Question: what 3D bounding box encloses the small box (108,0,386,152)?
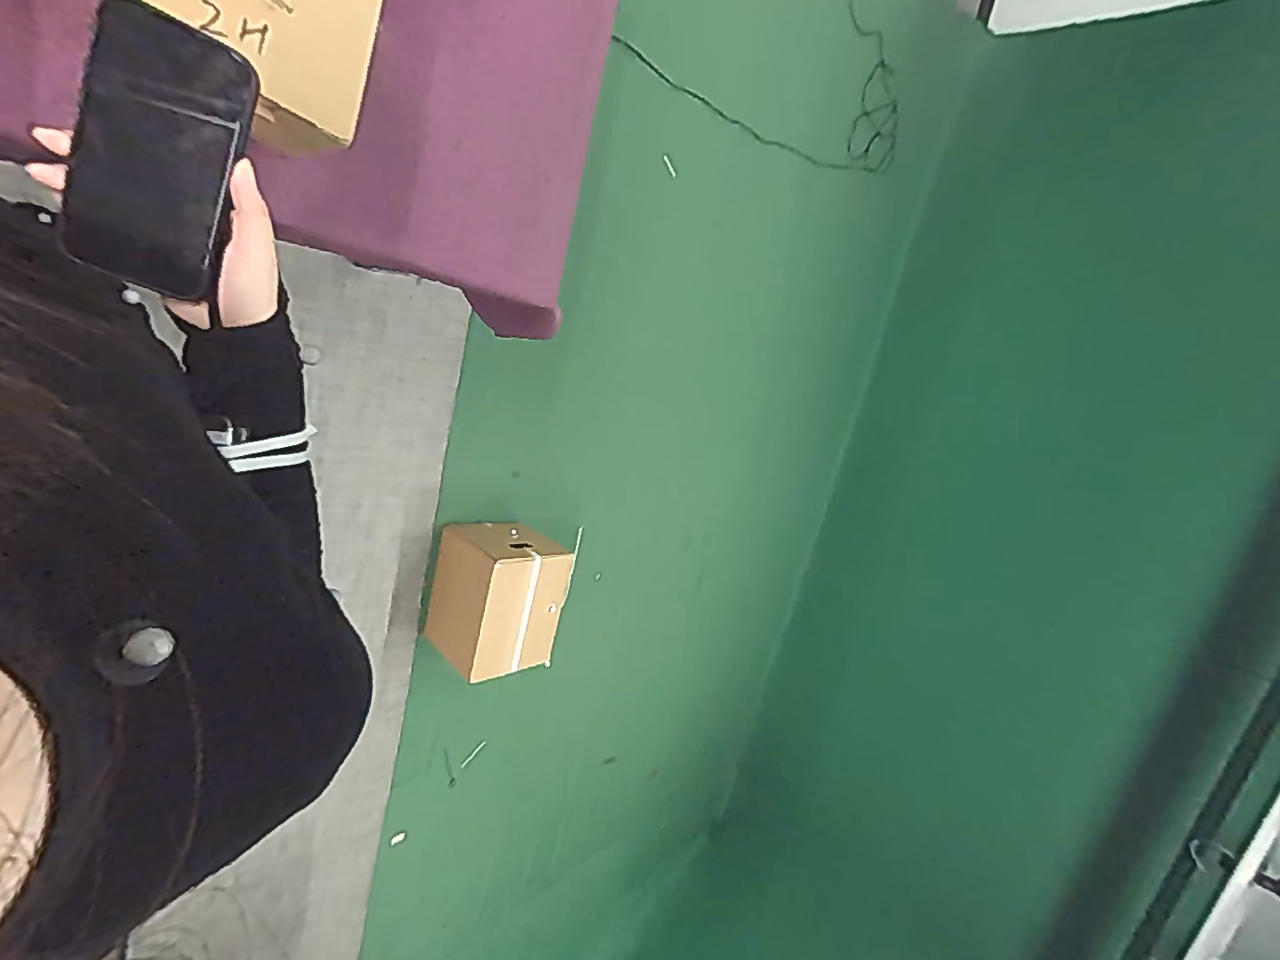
[{"bbox_3d":[-0.357,-0.434,0.494,0.168,0.176,0.179,8,102,-49],"label":"small box"}]
